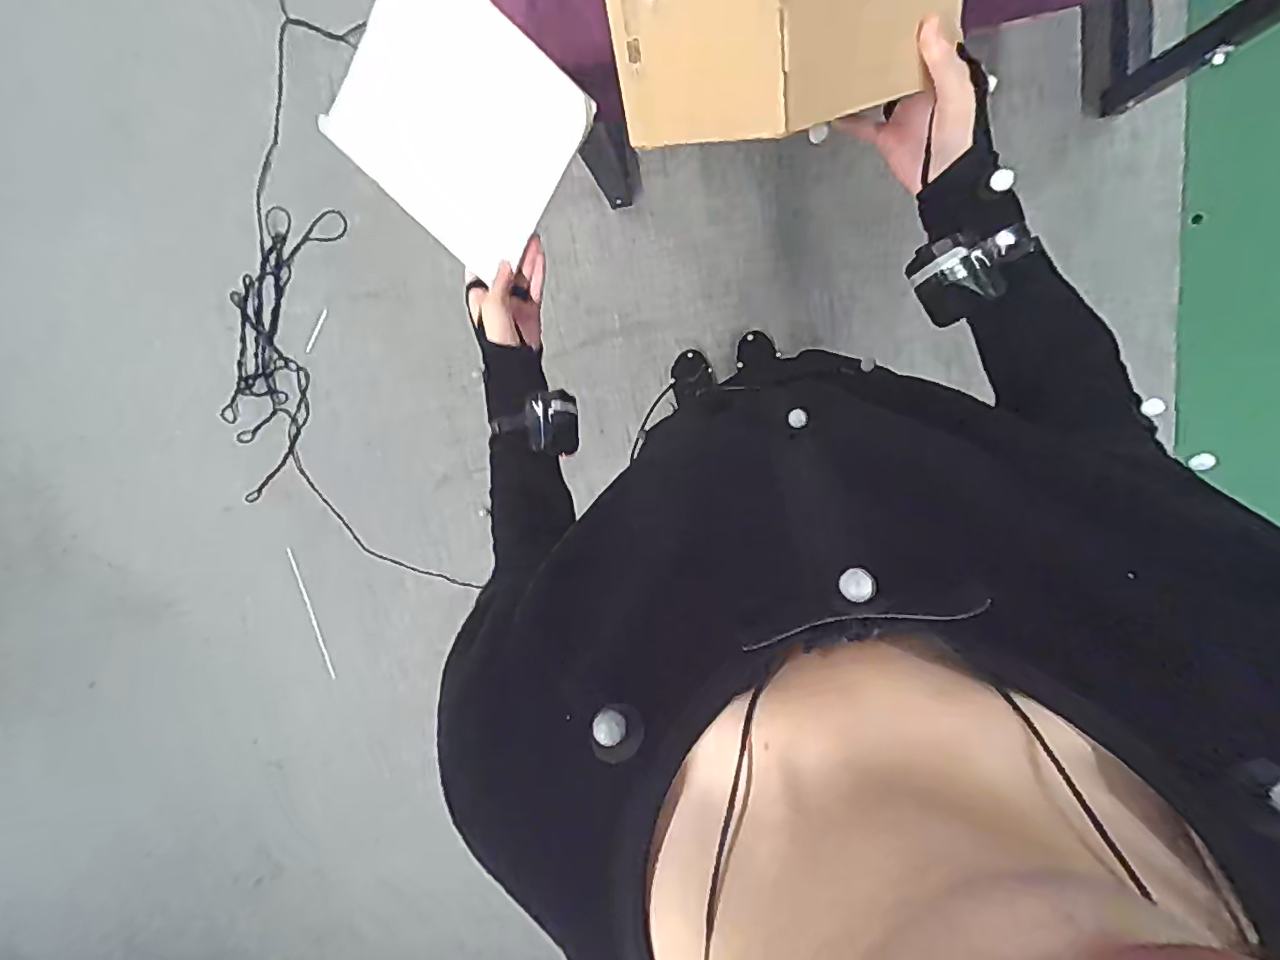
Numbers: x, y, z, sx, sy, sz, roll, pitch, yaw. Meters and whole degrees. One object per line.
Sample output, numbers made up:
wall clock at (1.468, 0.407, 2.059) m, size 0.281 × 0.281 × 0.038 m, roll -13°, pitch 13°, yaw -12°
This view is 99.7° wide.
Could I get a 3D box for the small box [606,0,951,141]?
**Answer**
small box at (0.092, -0.349, 0.374) m, size 0.179 × 0.176 × 0.168 m, roll -29°, pitch 128°, yaw -21°
